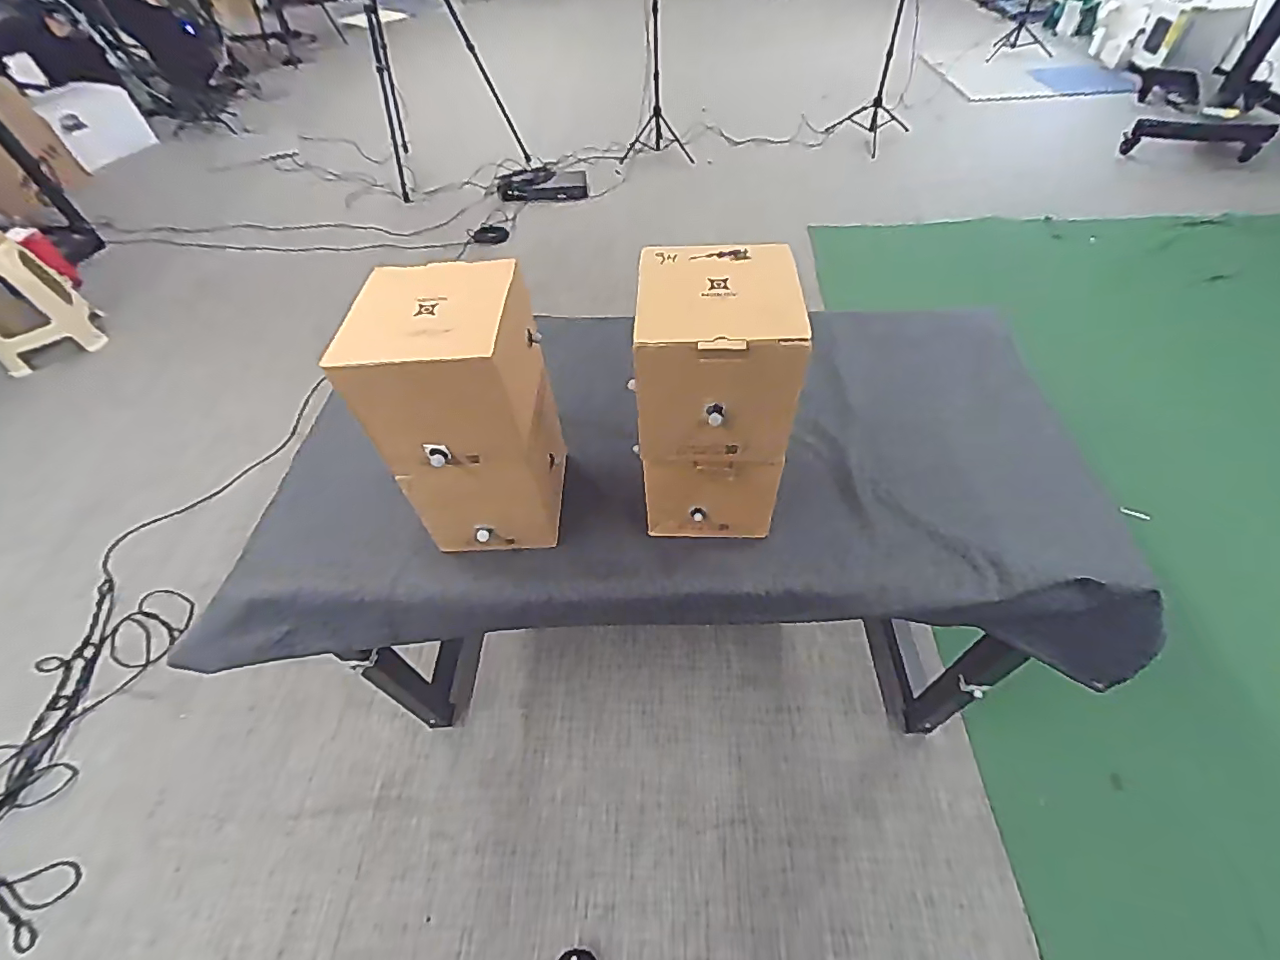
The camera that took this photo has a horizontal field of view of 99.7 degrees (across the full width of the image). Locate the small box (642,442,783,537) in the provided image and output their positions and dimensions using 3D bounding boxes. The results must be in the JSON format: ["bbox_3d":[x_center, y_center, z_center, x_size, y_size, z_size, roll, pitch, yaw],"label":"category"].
[{"bbox_3d":[0.090,-0.043,0.735,0.168,0.176,0.179,0,51,4],"label":"small box"}]

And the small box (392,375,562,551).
[{"bbox_3d":[-0.203,-0.022,0.734,0.168,0.176,0.179,-3,52,2],"label":"small box"}]

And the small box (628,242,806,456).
[{"bbox_3d":[0.079,-0.140,0.605,0.168,0.176,0.179,0,52,4],"label":"small box"}]

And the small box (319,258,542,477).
[{"bbox_3d":[-0.212,-0.123,0.608,0.168,0.176,0.179,-3,51,2],"label":"small box"}]
